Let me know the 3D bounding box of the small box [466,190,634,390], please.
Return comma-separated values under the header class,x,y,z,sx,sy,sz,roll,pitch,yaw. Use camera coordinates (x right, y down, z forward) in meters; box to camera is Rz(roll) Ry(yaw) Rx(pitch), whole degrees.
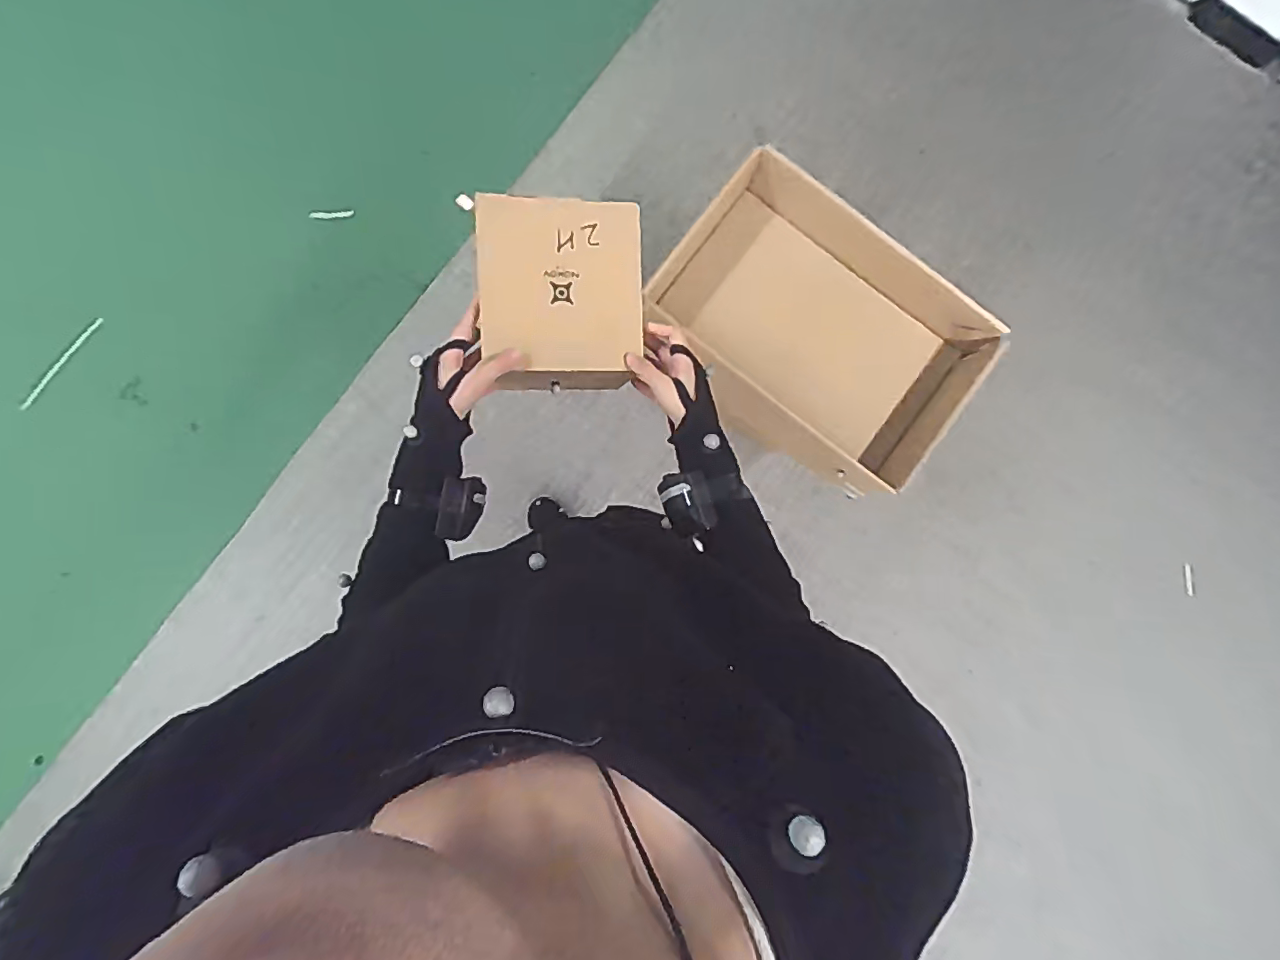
class,x,y,z,sx,sy,sz,roll,pitch,yaw
small box,-0.101,-0.197,0.616,0.168,0.176,0.179,-2,92,-12
